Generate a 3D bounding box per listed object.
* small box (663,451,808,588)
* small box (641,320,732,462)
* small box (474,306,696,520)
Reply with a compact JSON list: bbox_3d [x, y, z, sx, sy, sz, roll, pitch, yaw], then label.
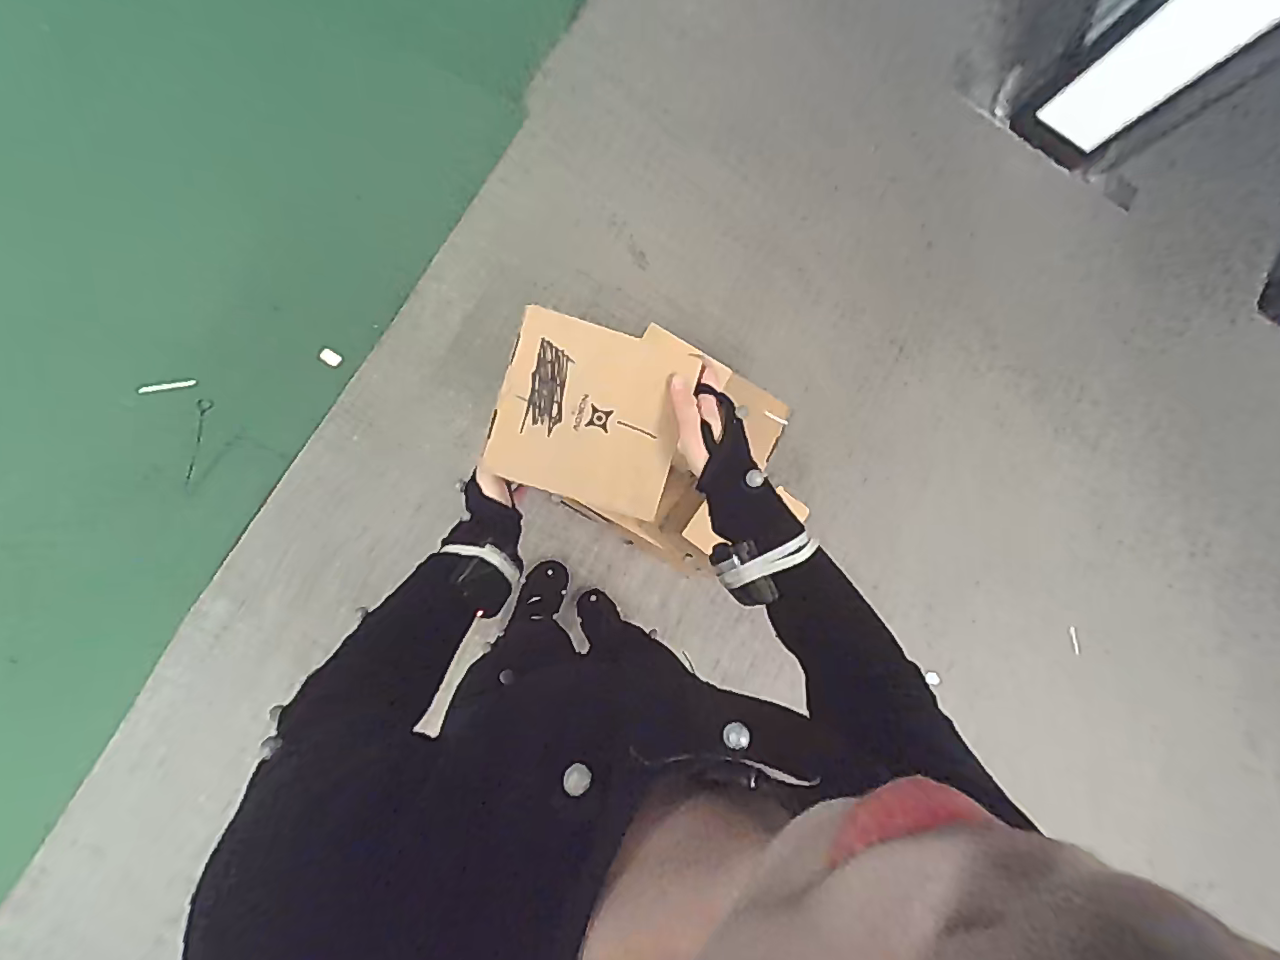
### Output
[{"bbox_3d":[0.163,0.072,0.987,0.168,0.176,0.179,38,79,-5],"label":"small box"},{"bbox_3d":[0.035,-0.151,0.987,0.168,0.176,0.179,30,79,-6],"label":"small box"},{"bbox_3d":[-0.056,-0.065,0.589,0.179,0.176,0.168,16,92,-5],"label":"small box"}]
